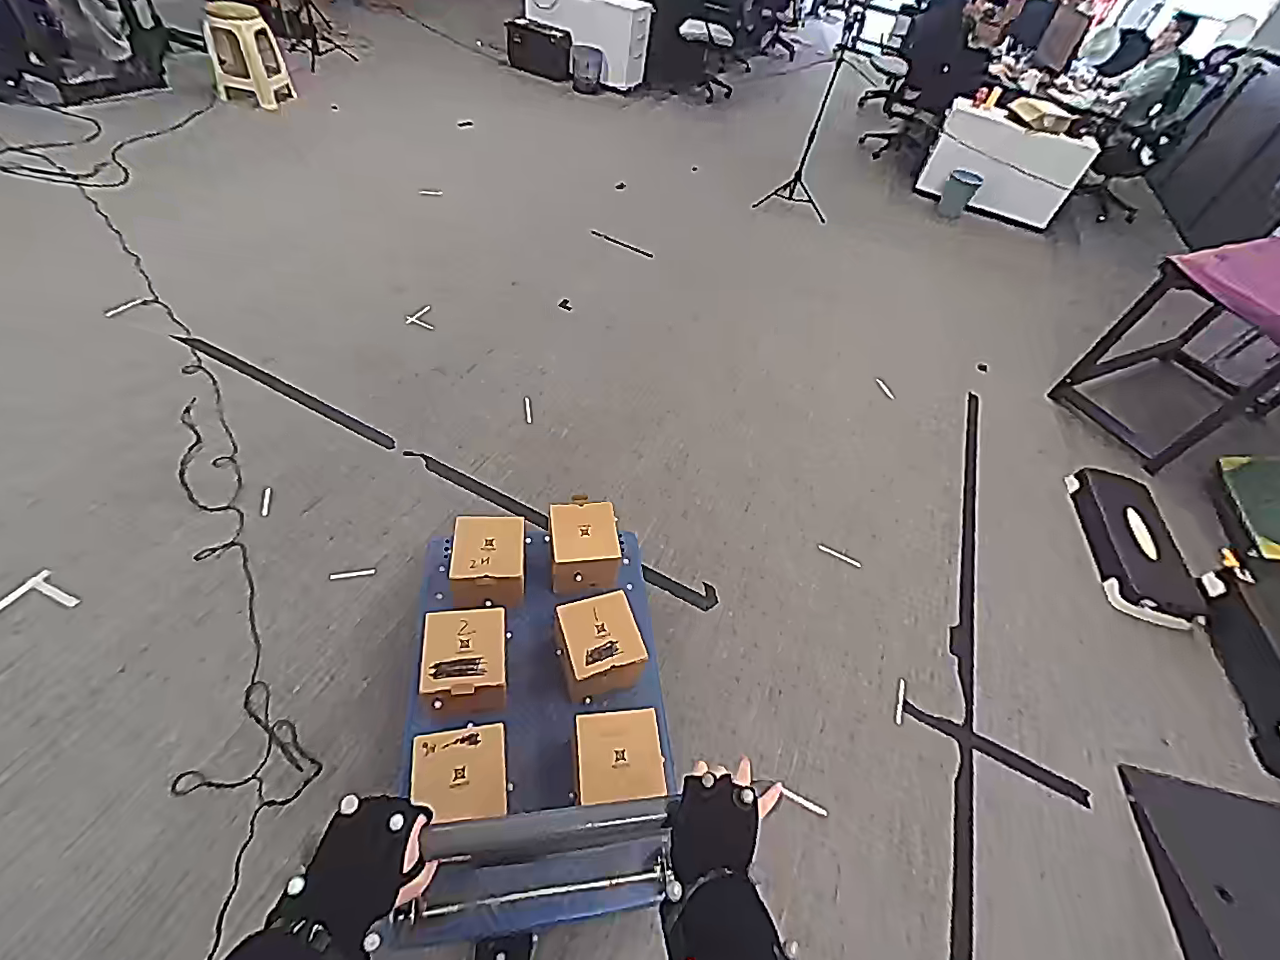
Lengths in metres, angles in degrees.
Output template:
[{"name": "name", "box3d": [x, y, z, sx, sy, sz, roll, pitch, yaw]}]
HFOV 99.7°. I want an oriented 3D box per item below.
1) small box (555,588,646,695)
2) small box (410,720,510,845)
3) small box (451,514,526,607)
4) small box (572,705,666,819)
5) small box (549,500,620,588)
[{"name": "small box", "box3d": [-0.099, 0.386, 1.271, 0.168, 0.176, 0.179, -10, 53, -20]}, {"name": "small box", "box3d": [-0.341, 0.589, 1.048, 0.168, 0.176, 0.179, -2, 51, -15]}, {"name": "small box", "box3d": [-0.375, 0.204, 1.363, 0.168, 0.176, 0.179, 1, 51, -11]}, {"name": "small box", "box3d": [-0.050, 0.585, 1.116, 0.168, 0.176, 0.179, 1, 50, -12]}, {"name": "small box", "box3d": [-0.153, 0.176, 1.437, 0.168, 0.176, 0.179, -3, 51, -14]}]
